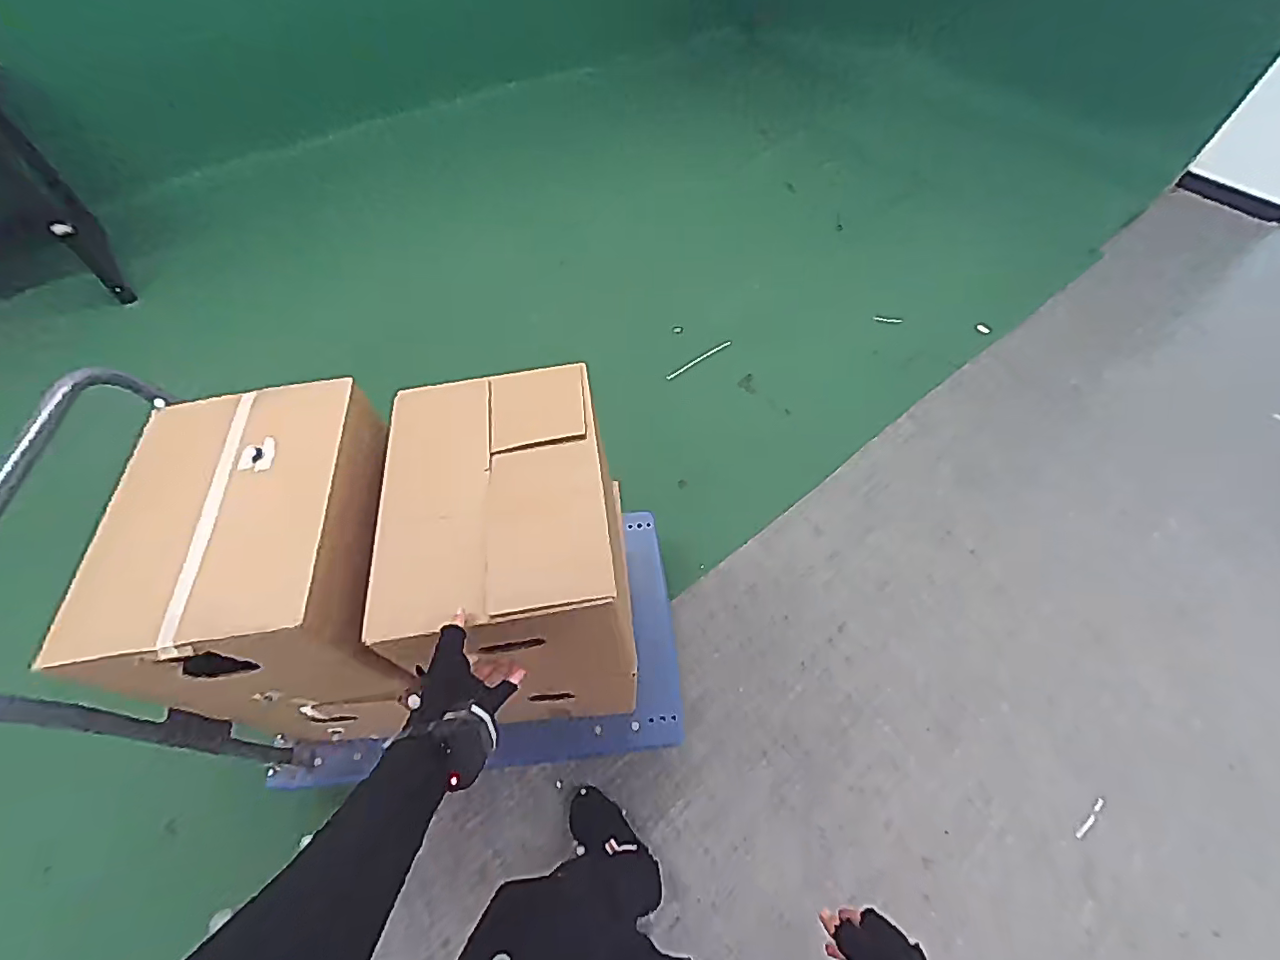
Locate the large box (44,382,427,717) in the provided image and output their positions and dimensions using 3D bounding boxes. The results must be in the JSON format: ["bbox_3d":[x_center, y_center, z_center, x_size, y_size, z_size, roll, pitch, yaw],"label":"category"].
[{"bbox_3d":[-0.559,0.114,0.858,0.320,0.320,0.408,-9,55,-1],"label":"large box"}]
